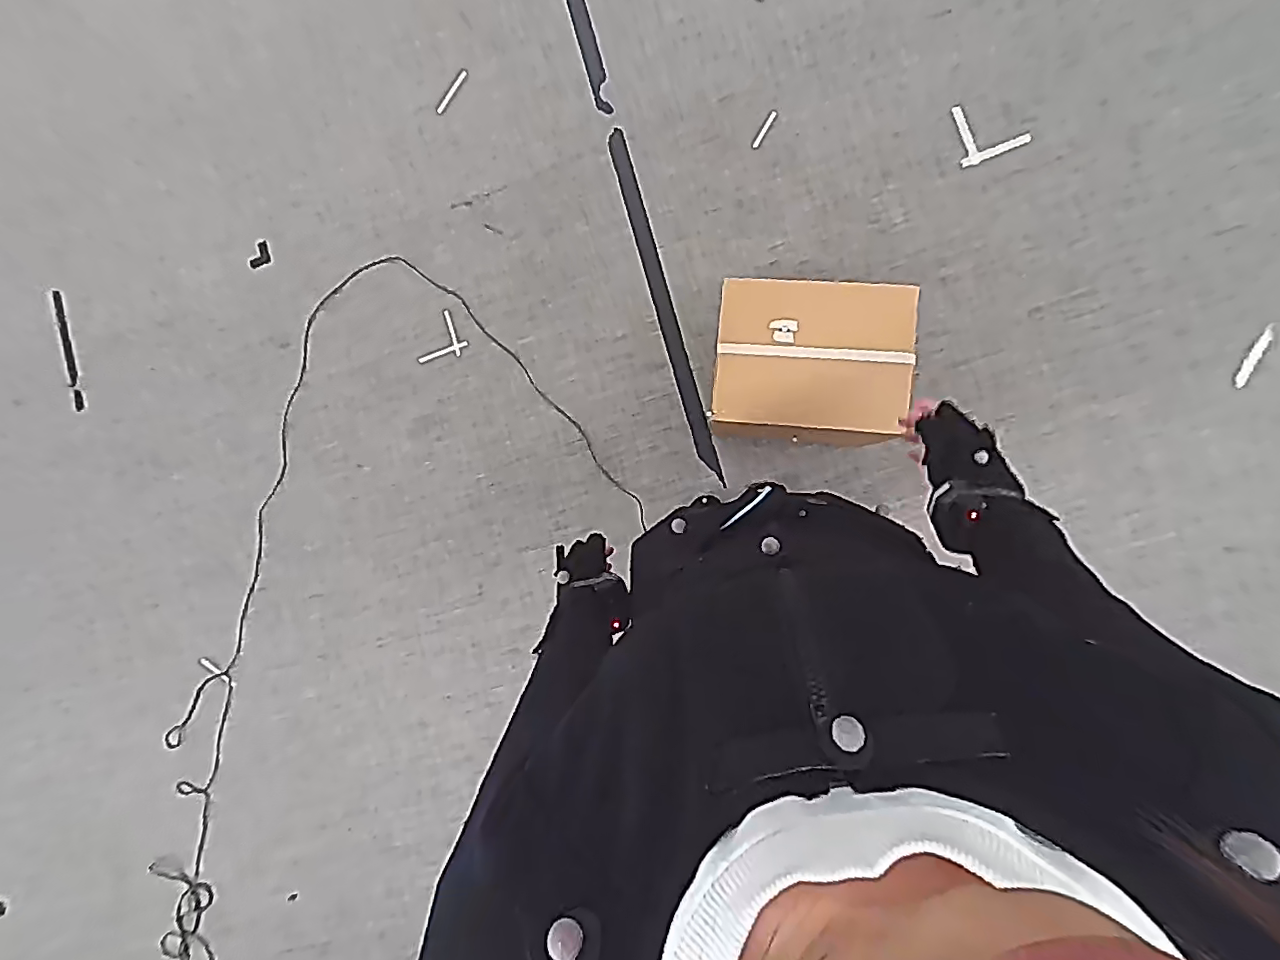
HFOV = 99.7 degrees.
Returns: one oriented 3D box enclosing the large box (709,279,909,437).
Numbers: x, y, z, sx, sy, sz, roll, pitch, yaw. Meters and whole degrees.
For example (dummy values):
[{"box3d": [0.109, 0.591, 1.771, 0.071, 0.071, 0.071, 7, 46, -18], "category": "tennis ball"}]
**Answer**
[{"box3d": [0.381, -0.276, 1.305, 0.408, 0.320, 0.320, 5, 89, 8], "category": "large box"}]
